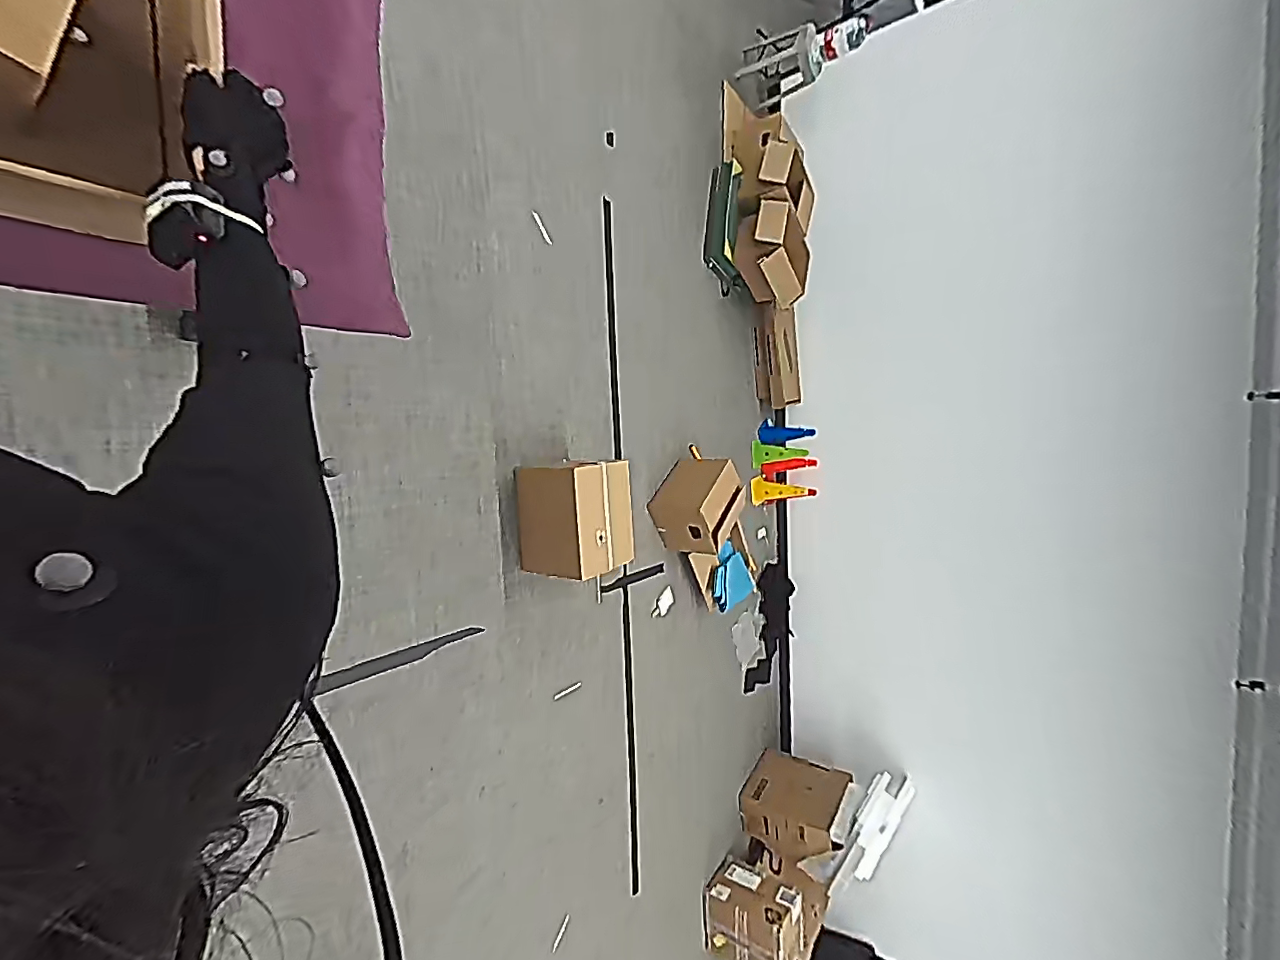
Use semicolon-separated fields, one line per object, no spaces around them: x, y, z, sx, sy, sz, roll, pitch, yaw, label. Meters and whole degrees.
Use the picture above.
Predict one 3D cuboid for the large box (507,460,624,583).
-0.280;0.139;2.063;0.320;0.320;0.408;-12;101;-54;large box
